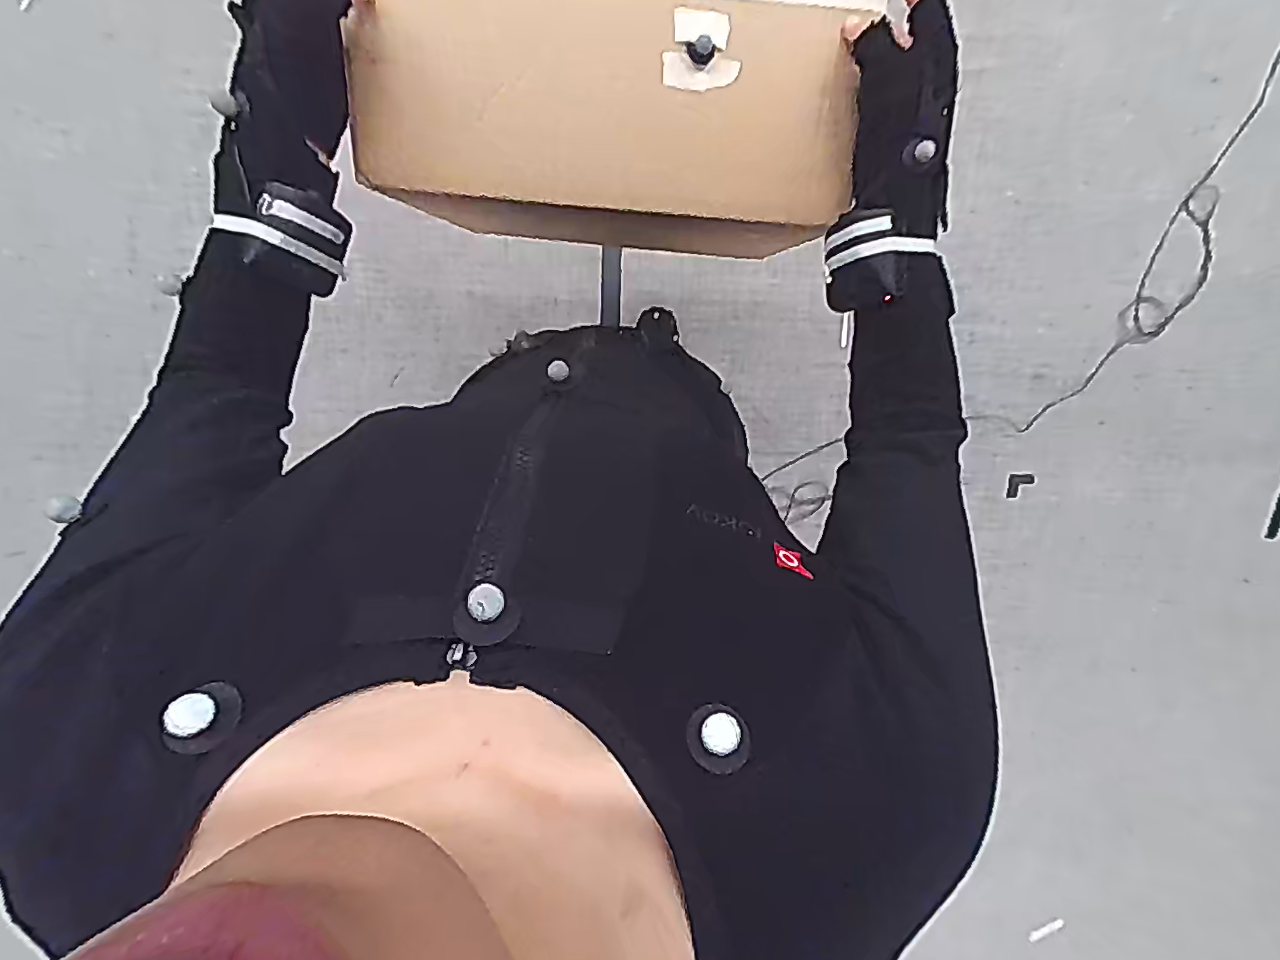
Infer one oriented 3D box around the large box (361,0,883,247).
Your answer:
[{"bbox_3d":[-0.015,-0.428,0.546,0.408,0.320,0.320,4,108,-3],"label":"large box"}]
